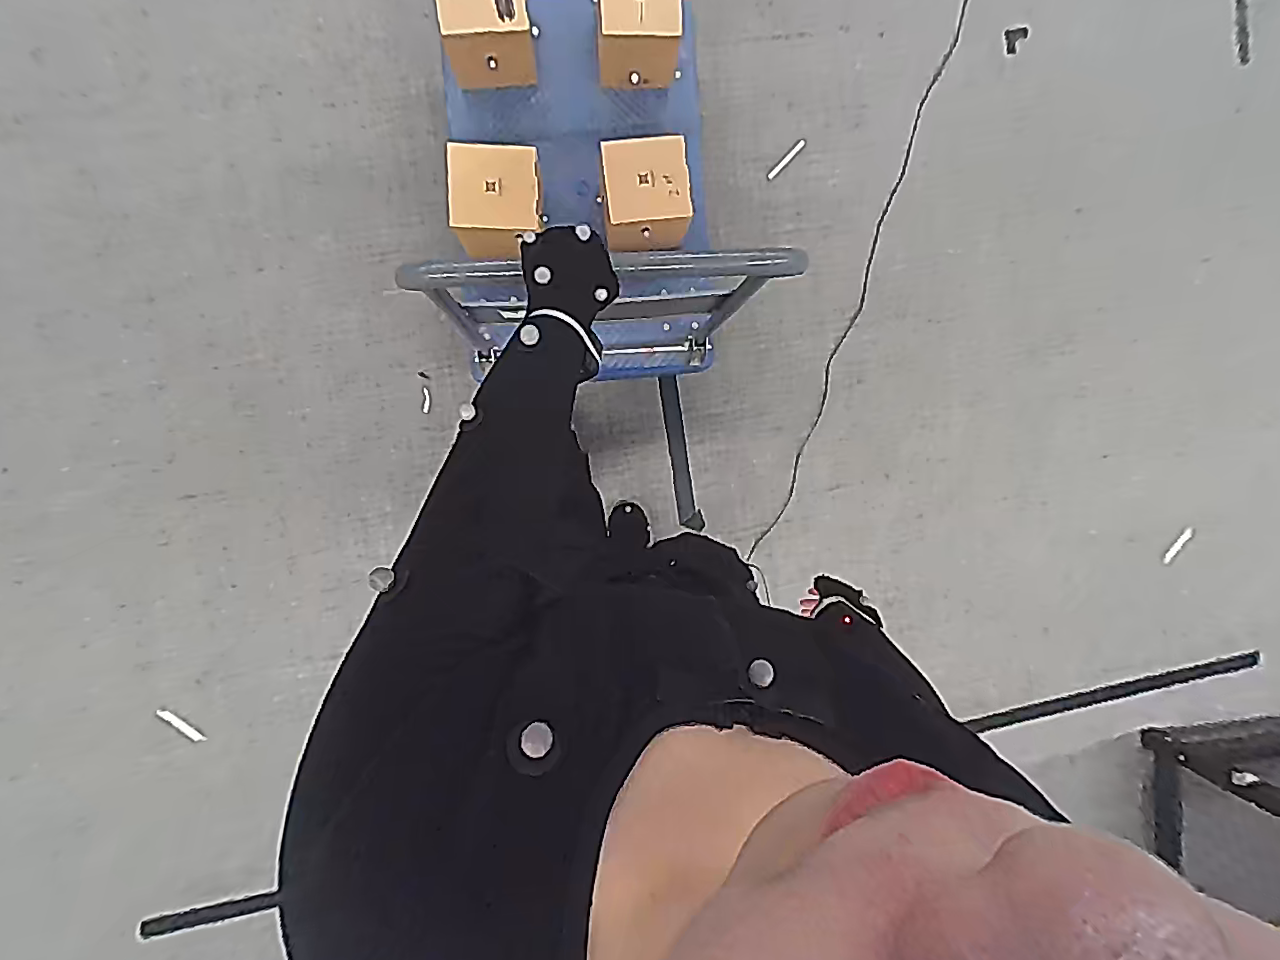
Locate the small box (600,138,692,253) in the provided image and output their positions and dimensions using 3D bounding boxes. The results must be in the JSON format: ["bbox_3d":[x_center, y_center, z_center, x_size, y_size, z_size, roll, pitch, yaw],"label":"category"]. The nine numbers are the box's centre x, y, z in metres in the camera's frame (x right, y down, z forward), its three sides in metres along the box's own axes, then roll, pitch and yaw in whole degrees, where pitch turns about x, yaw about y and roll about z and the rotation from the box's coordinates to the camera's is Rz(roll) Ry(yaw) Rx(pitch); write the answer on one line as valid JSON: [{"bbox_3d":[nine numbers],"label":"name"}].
[{"bbox_3d":[0.007,-0.613,1.184,0.179,0.176,0.168,-8,94,-5],"label":"small box"}]

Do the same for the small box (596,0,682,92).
[{"bbox_3d":[-0.008,-0.982,1.164,0.168,0.176,0.179,-3,95,-6],"label":"small box"}]

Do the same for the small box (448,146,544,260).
[{"bbox_3d":[-0.300,-0.582,1.155,0.179,0.176,0.168,-2,93,-7],"label":"small box"}]
